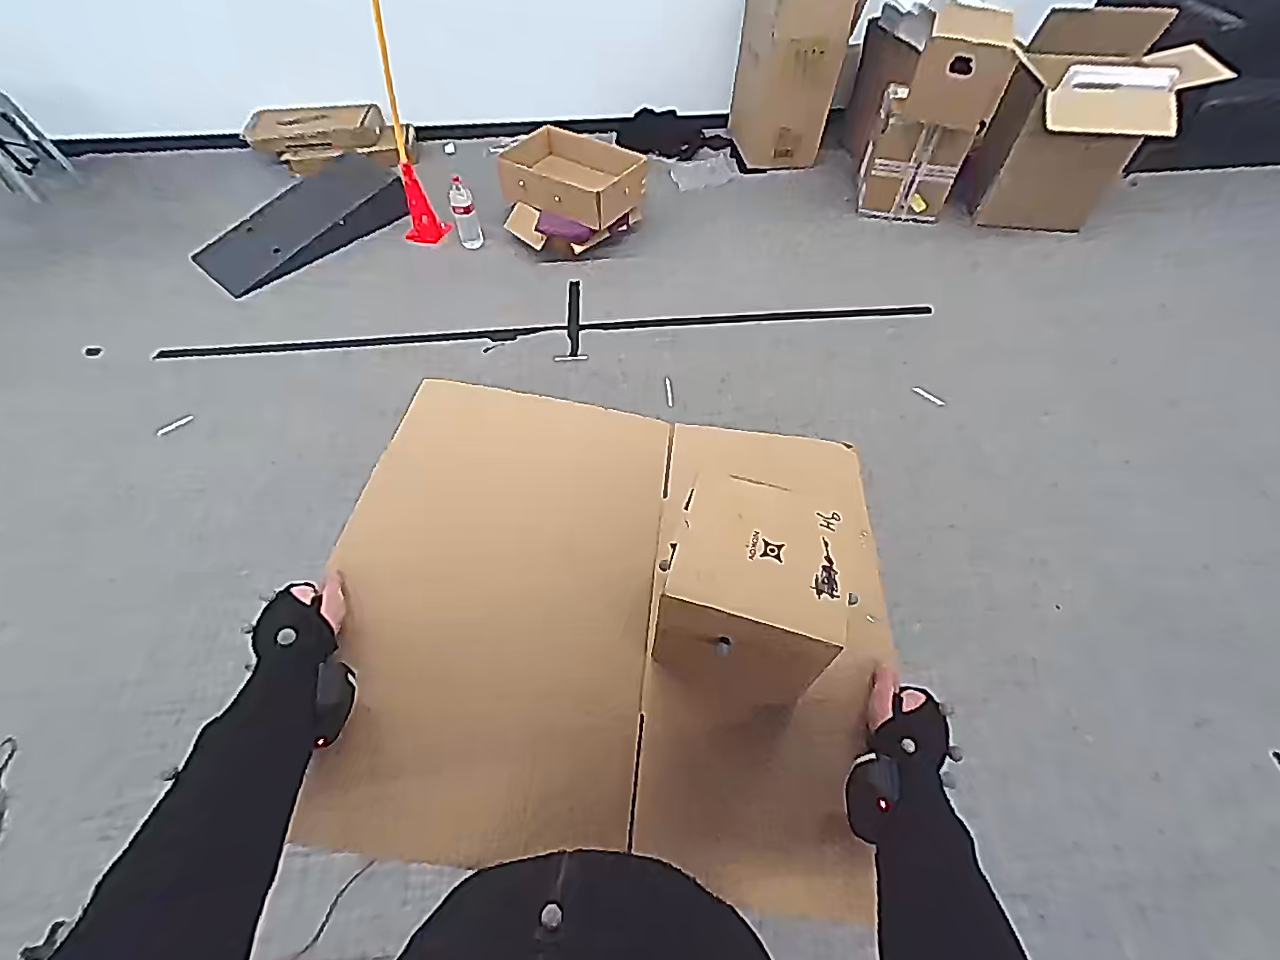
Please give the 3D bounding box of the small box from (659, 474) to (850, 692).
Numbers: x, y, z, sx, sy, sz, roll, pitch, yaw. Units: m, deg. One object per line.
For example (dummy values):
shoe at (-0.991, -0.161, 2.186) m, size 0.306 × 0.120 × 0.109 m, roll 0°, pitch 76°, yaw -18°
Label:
small box at (0.124, 0.122, 0.622) m, size 0.179 × 0.176 × 0.168 m, roll 14°, pitch 53°, yaw 9°
